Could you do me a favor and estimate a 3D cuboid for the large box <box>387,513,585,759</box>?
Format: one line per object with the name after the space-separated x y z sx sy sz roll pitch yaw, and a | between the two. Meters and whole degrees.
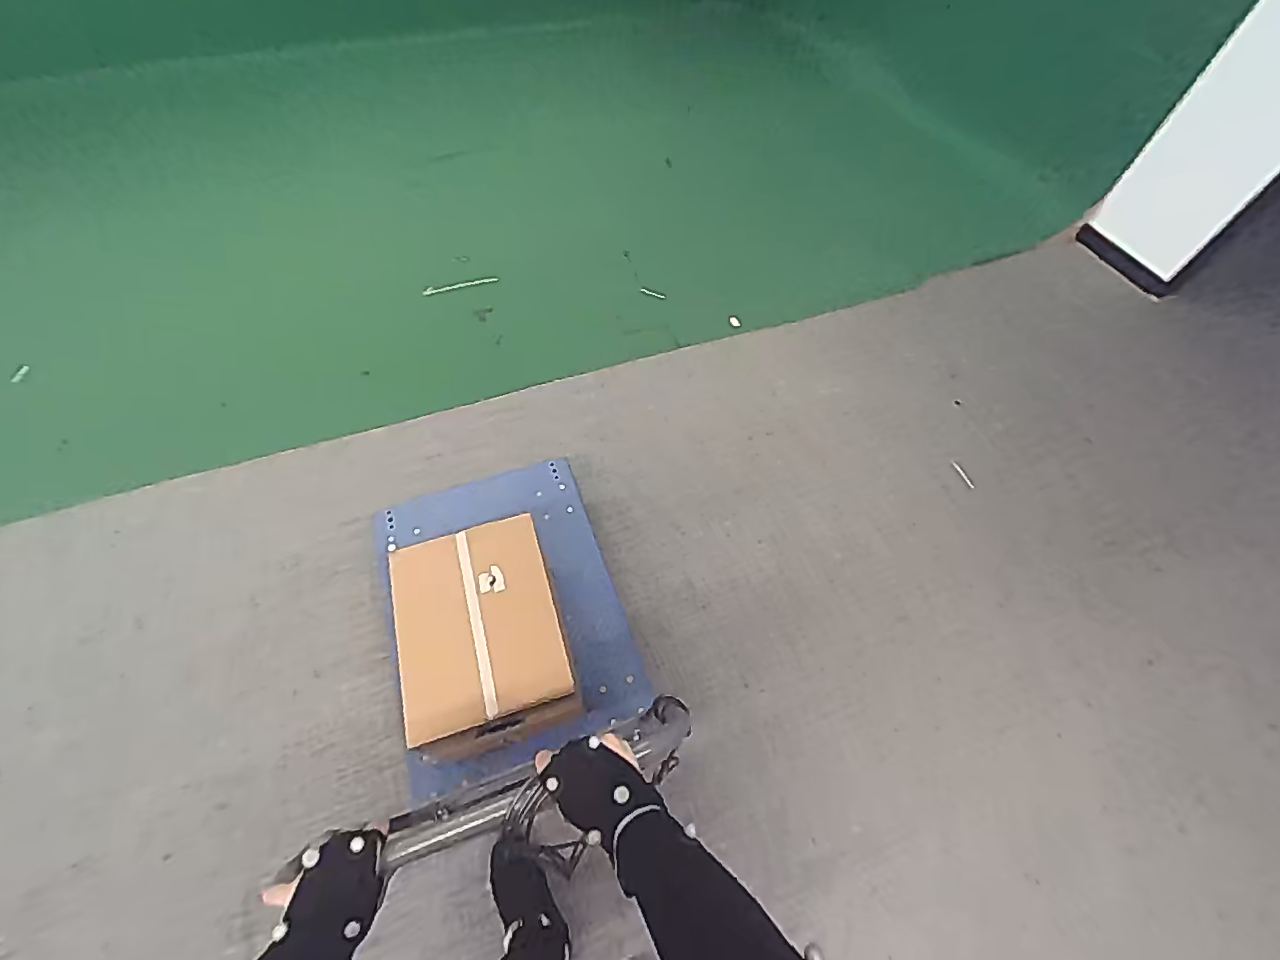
-0.331 0.350 1.205 0.320 0.320 0.408 -15 60 -10 | large box
